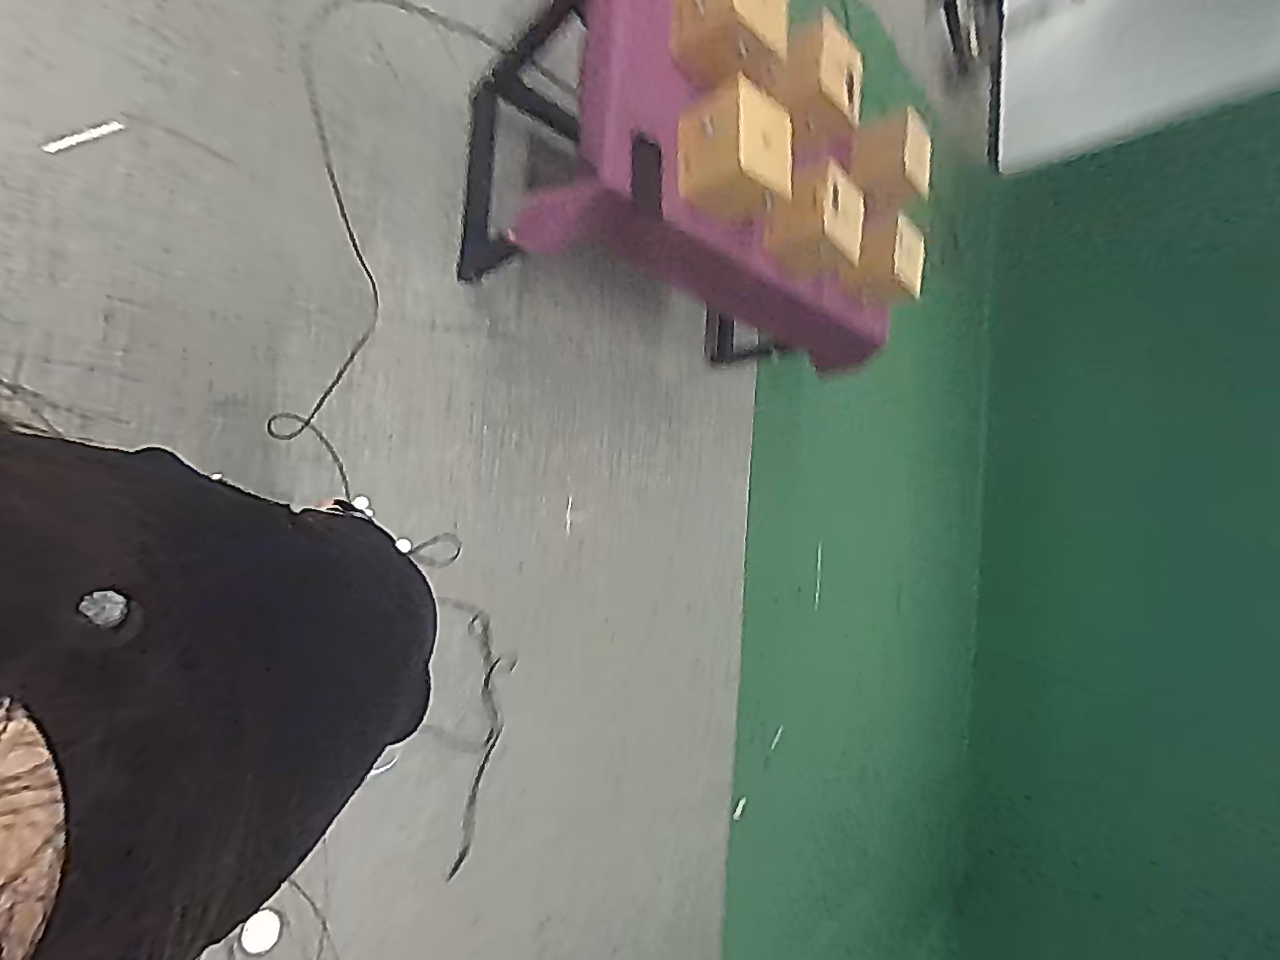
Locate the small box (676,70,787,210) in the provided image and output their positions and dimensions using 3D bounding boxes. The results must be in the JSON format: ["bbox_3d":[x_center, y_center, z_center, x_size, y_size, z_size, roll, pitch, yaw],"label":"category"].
[{"bbox_3d":[0.189,-0.696,1.134,0.179,0.176,0.168,-2,92,-43],"label":"small box"}]

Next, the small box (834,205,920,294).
[{"bbox_3d":[0.697,-0.665,1.590,0.179,0.176,0.168,15,81,-41],"label":"small box"}]

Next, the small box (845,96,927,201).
[{"bbox_3d":[0.731,-0.977,1.610,0.168,0.176,0.179,10,85,-41],"label":"small box"}]

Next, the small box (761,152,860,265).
[{"bbox_3d":[0.421,-0.659,1.342,0.179,0.176,0.168,14,82,-42],"label":"small box"}]
